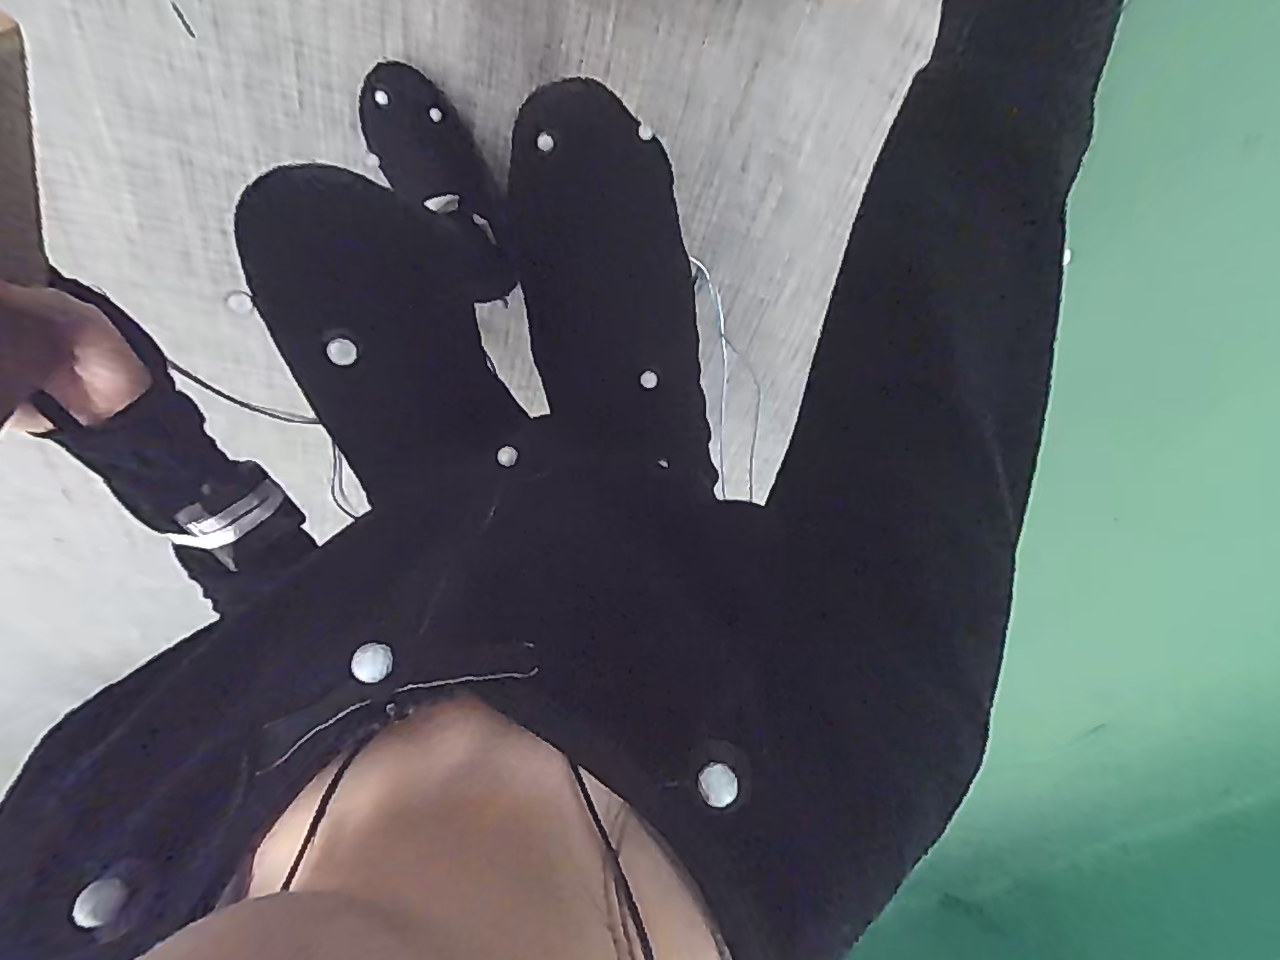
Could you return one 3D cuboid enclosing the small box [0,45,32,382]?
[{"bbox_3d":[-0.324,-0.081,0.150,0.168,0.176,0.179,15,130,-33],"label":"small box"}]
